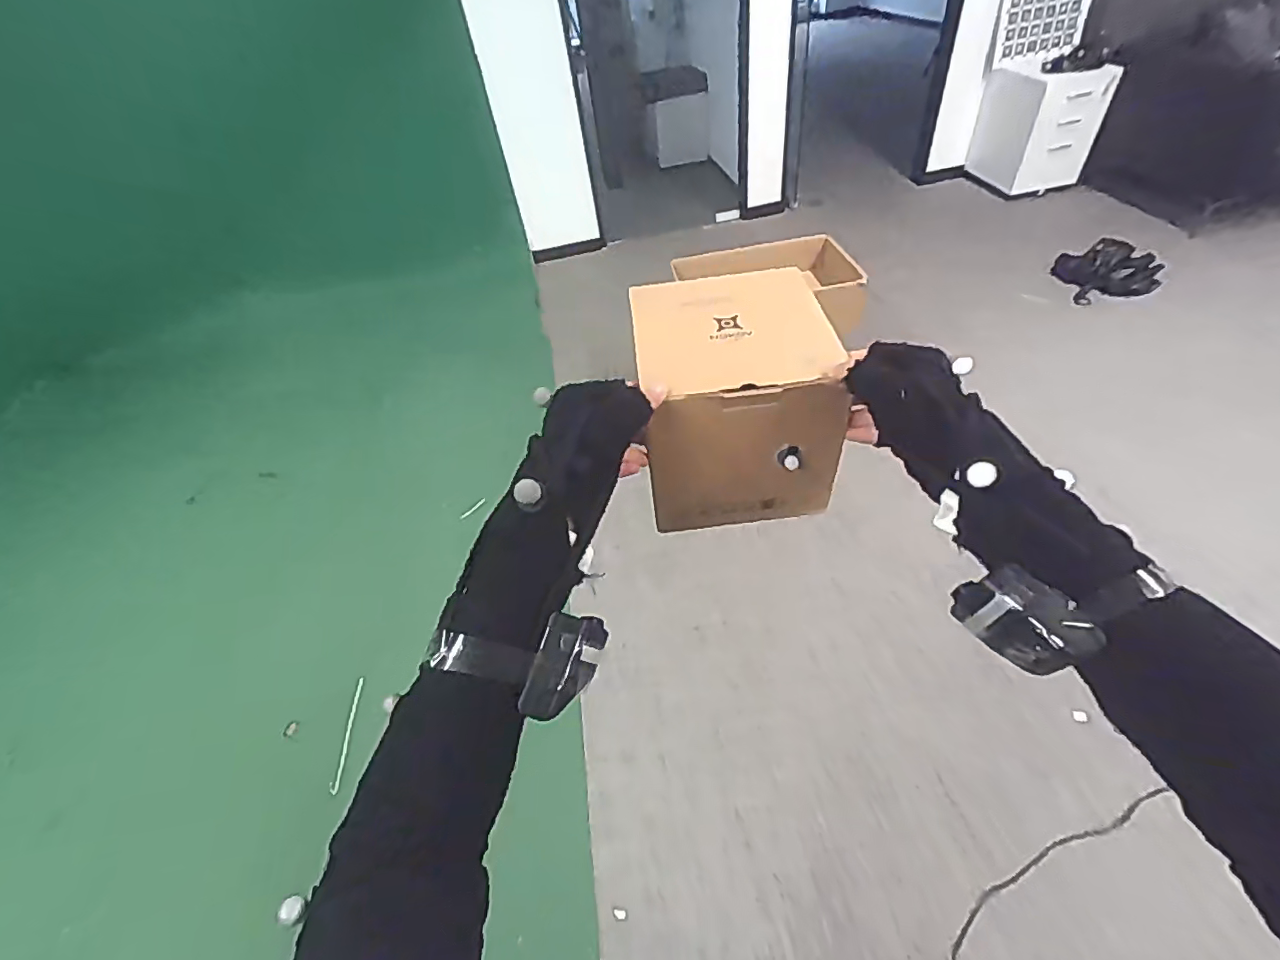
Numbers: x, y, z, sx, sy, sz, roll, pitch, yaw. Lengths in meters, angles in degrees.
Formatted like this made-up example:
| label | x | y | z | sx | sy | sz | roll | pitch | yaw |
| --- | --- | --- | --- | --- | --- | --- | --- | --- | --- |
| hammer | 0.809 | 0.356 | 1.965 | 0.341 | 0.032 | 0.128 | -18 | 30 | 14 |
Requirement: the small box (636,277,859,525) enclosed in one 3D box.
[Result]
| label | x | y | z | sx | sy | sz | roll | pitch | yaw |
| --- | --- | --- | --- | --- | --- | --- | --- | --- | --- |
| small box | 0.090 | -0.070 | 0.524 | 0.168 | 0.176 | 0.179 | -6 | 46 | 1 |
